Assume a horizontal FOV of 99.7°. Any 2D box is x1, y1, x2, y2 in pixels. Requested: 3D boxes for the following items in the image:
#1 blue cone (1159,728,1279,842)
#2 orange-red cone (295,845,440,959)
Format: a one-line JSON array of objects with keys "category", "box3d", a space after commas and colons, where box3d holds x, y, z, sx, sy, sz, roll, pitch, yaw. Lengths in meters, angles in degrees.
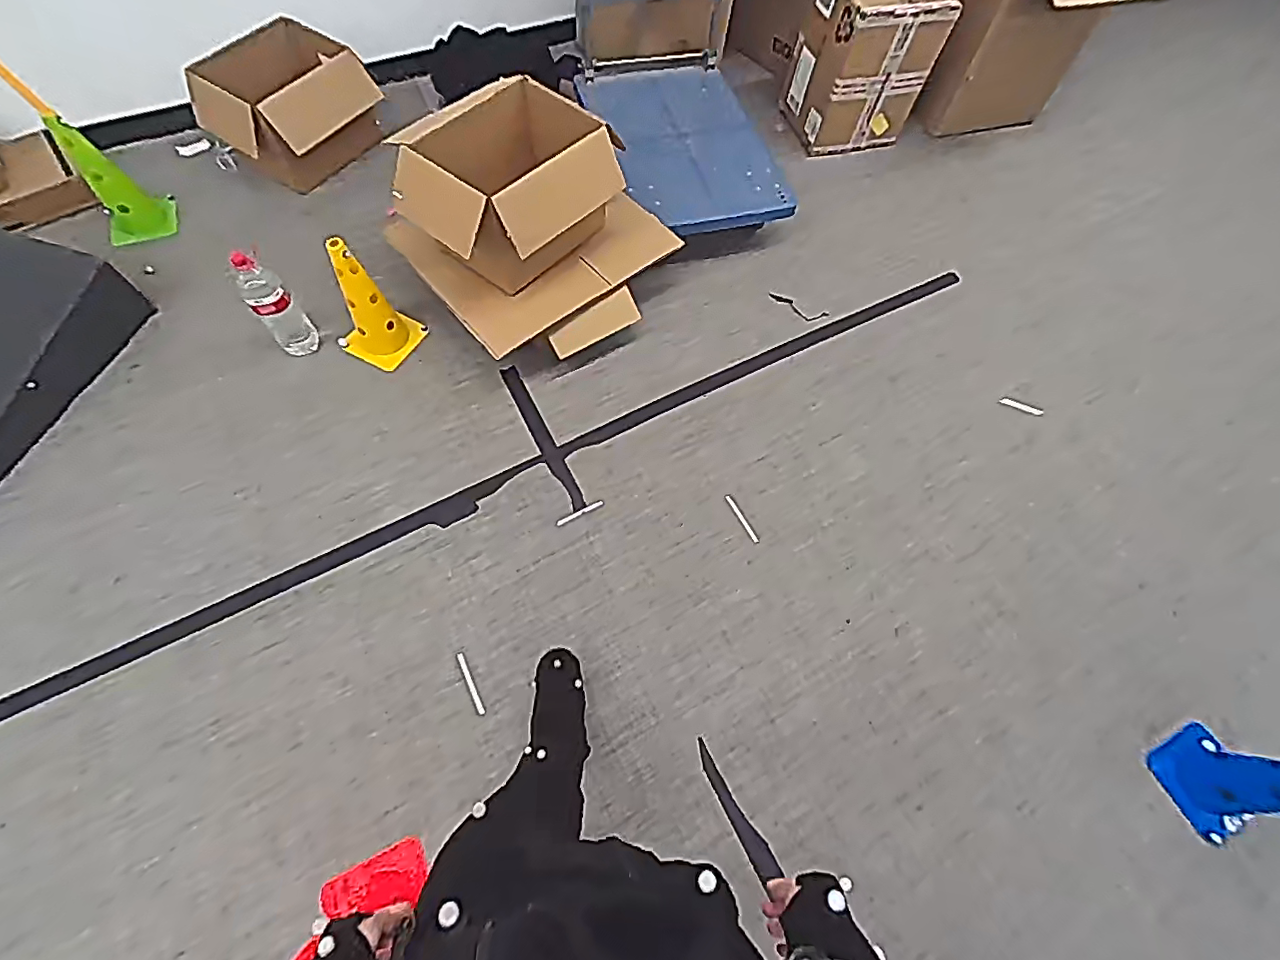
[{"category": "blue cone", "box3d": [1.332, 0.628, 1.106, 0.193, 0.380, 0.192, -22, 68, -13]}, {"category": "orange-red cone", "box3d": [-0.496, 0.778, 0.897, 0.198, 0.360, 0.199, -22, 67, -14]}]
